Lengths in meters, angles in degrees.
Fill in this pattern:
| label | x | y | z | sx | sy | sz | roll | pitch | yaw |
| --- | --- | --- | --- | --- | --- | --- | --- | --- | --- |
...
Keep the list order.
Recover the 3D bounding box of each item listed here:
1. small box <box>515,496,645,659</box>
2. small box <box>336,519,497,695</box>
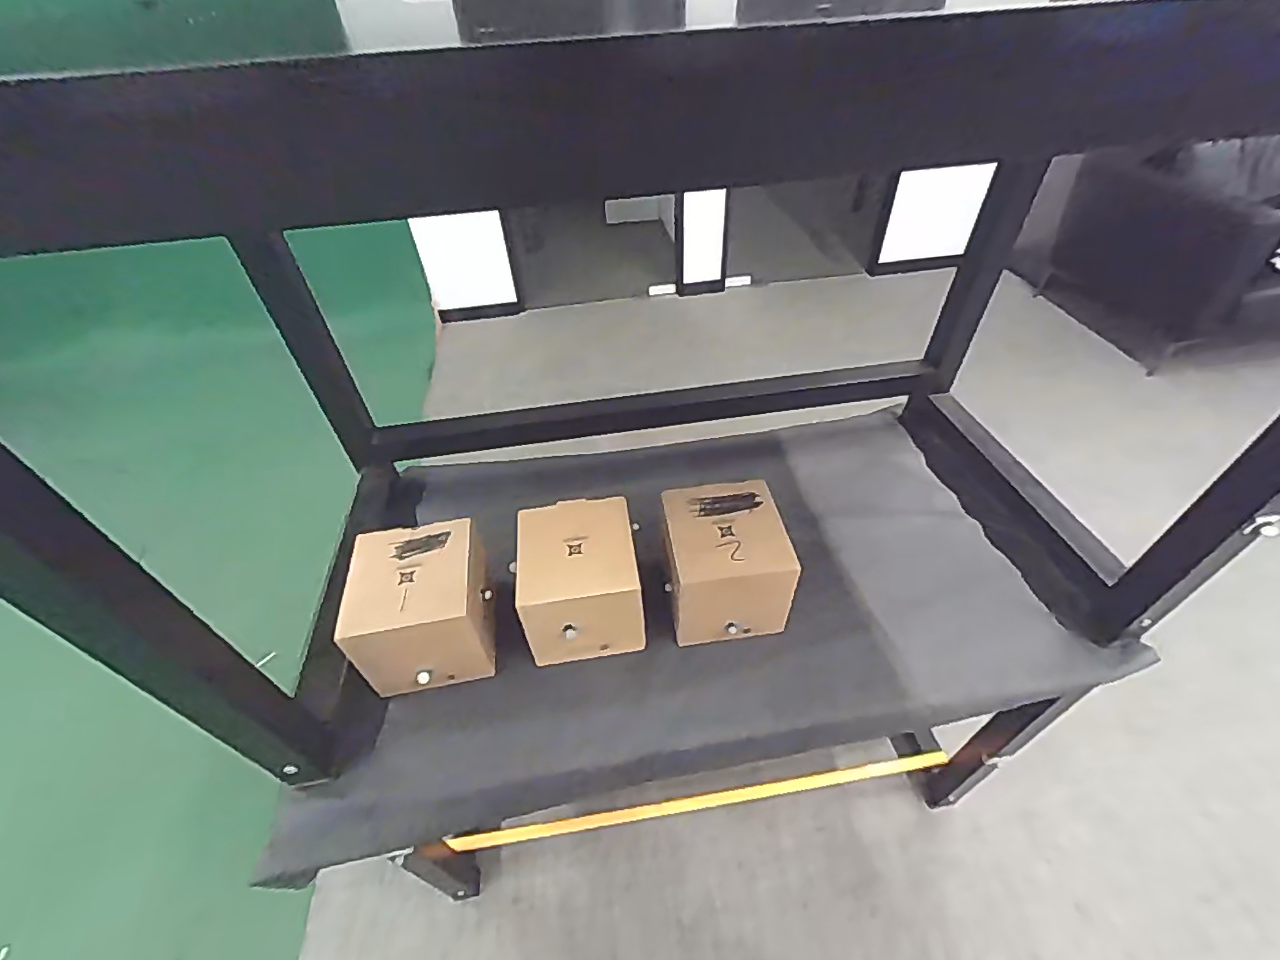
| label | x | y | z | sx | sy | sz | roll | pitch | yaw |
| --- | --- | --- | --- | --- | --- | --- | --- | --- | --- |
| small box | -0.088 | 0.152 | 0.817 | 0.168 | 0.176 | 0.179 | -8 | 43 | -4 |
| small box | -0.311 | 0.186 | 0.794 | 0.168 | 0.176 | 0.179 | -9 | 44 | -6 |
